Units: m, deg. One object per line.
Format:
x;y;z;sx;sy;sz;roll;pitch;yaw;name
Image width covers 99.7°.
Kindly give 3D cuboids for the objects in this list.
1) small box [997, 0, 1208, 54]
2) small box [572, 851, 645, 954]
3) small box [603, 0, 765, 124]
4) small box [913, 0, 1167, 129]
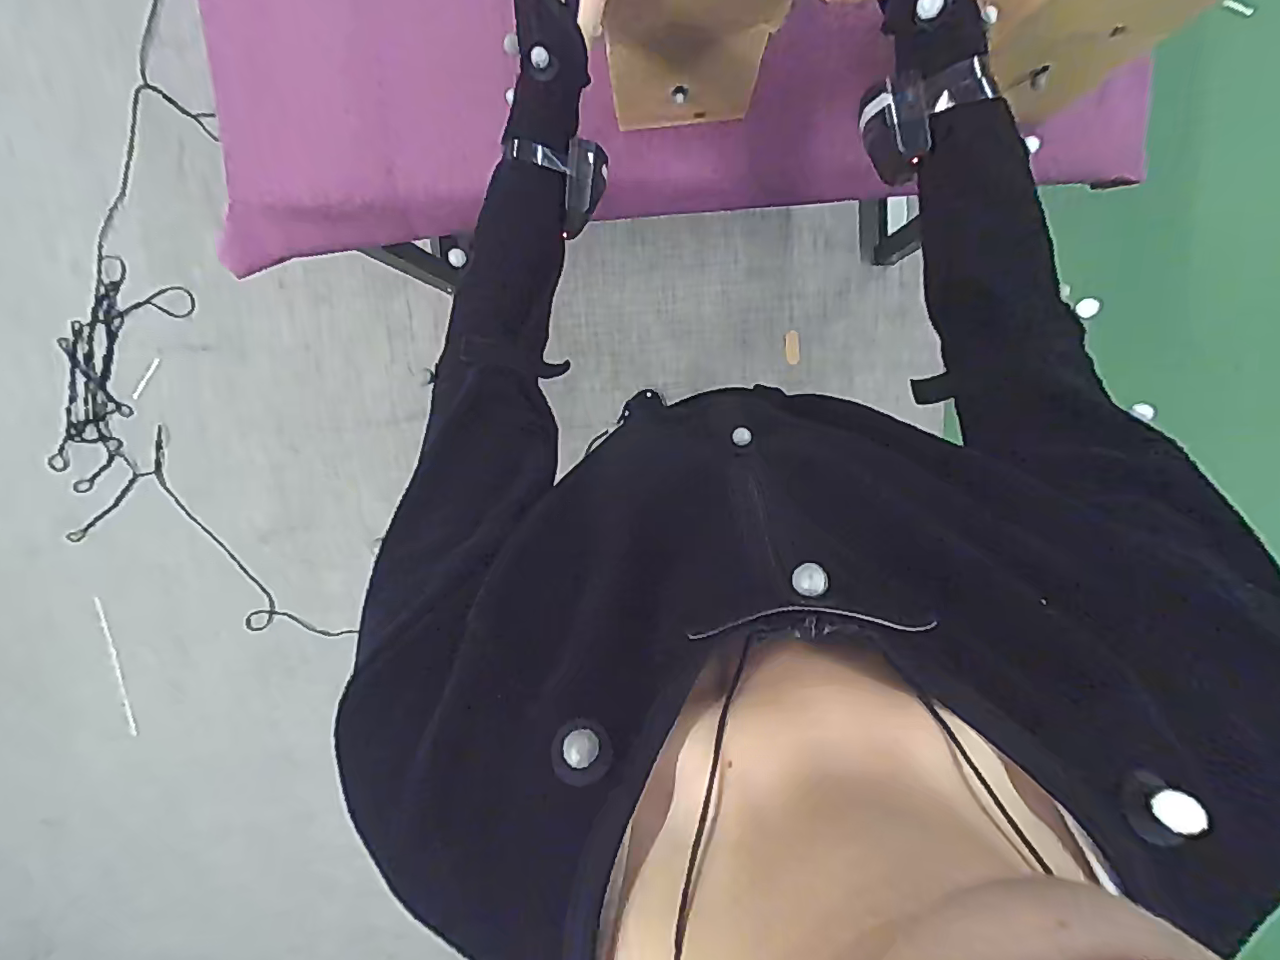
0.417;-0.498;0.435;0.168;0.176;0.179;-5;98;7;small box
-0.086;1.232;1.588;0.179;0.176;0.168;-13;97;6;small box
0.047;-0.539;0.620;0.168;0.176;0.179;-4;98;4;small box
0.426;-0.522;0.597;0.179;0.176;0.168;-5;99;6;small box
